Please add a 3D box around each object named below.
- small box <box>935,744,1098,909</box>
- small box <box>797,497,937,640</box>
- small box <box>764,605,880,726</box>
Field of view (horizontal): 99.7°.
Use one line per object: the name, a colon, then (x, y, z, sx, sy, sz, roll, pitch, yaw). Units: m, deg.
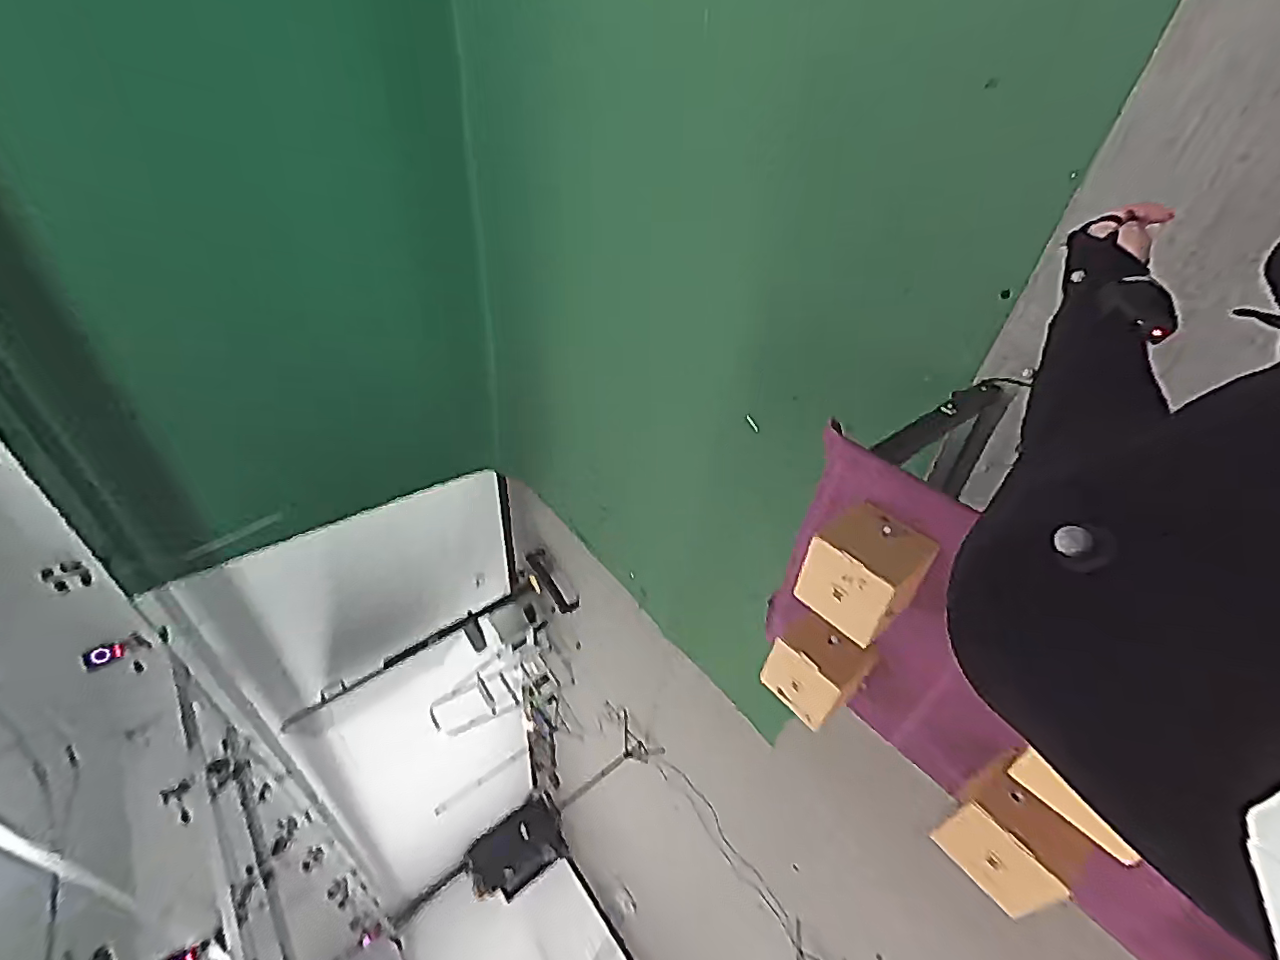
small box: (0.694, 0.629, 0.996, 0.168, 0.176, 0.179, 42, 141, 33)
small box: (0.438, 0.166, 1.046, 0.168, 0.176, 0.179, 37, 139, 34)
small box: (0.419, 0.414, 1.241, 0.168, 0.176, 0.179, 40, 137, 34)
